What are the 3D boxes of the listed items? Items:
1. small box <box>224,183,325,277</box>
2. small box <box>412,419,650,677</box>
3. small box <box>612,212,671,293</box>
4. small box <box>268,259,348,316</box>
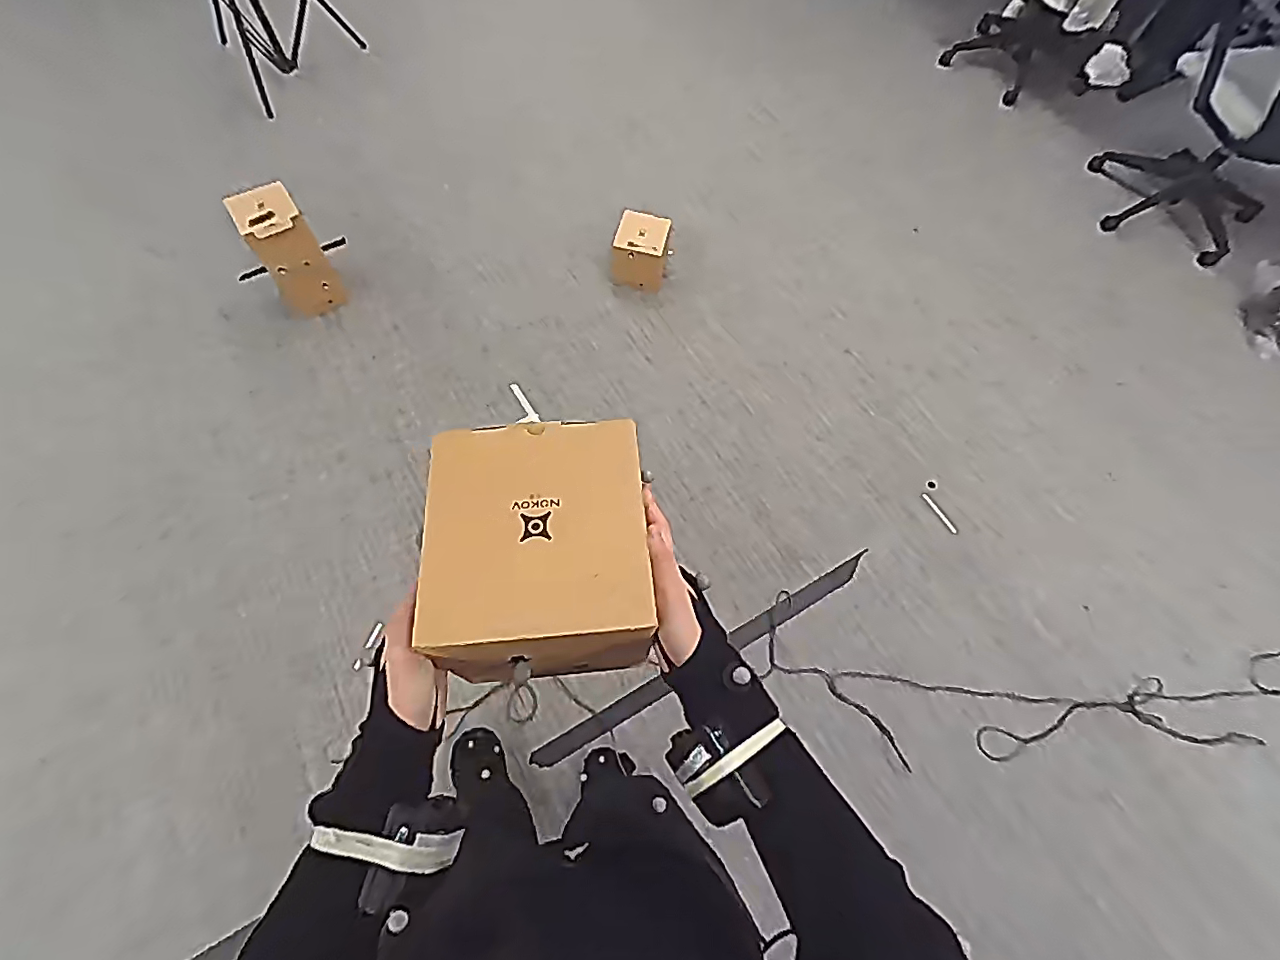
[{"bbox_3d":[-1.078,-0.733,1.610,0.168,0.176,0.179,-31,70,-16],"label":"small box"},{"bbox_3d":[-0.082,0.069,0.474,0.168,0.176,0.179,-4,61,-5],"label":"small box"},{"bbox_3d":[0.001,-0.782,1.865,0.168,0.176,0.179,13,65,3],"label":"small box"},{"bbox_3d":[-1.090,-0.662,1.758,0.168,0.176,0.179,-32,69,-17],"label":"small box"}]
